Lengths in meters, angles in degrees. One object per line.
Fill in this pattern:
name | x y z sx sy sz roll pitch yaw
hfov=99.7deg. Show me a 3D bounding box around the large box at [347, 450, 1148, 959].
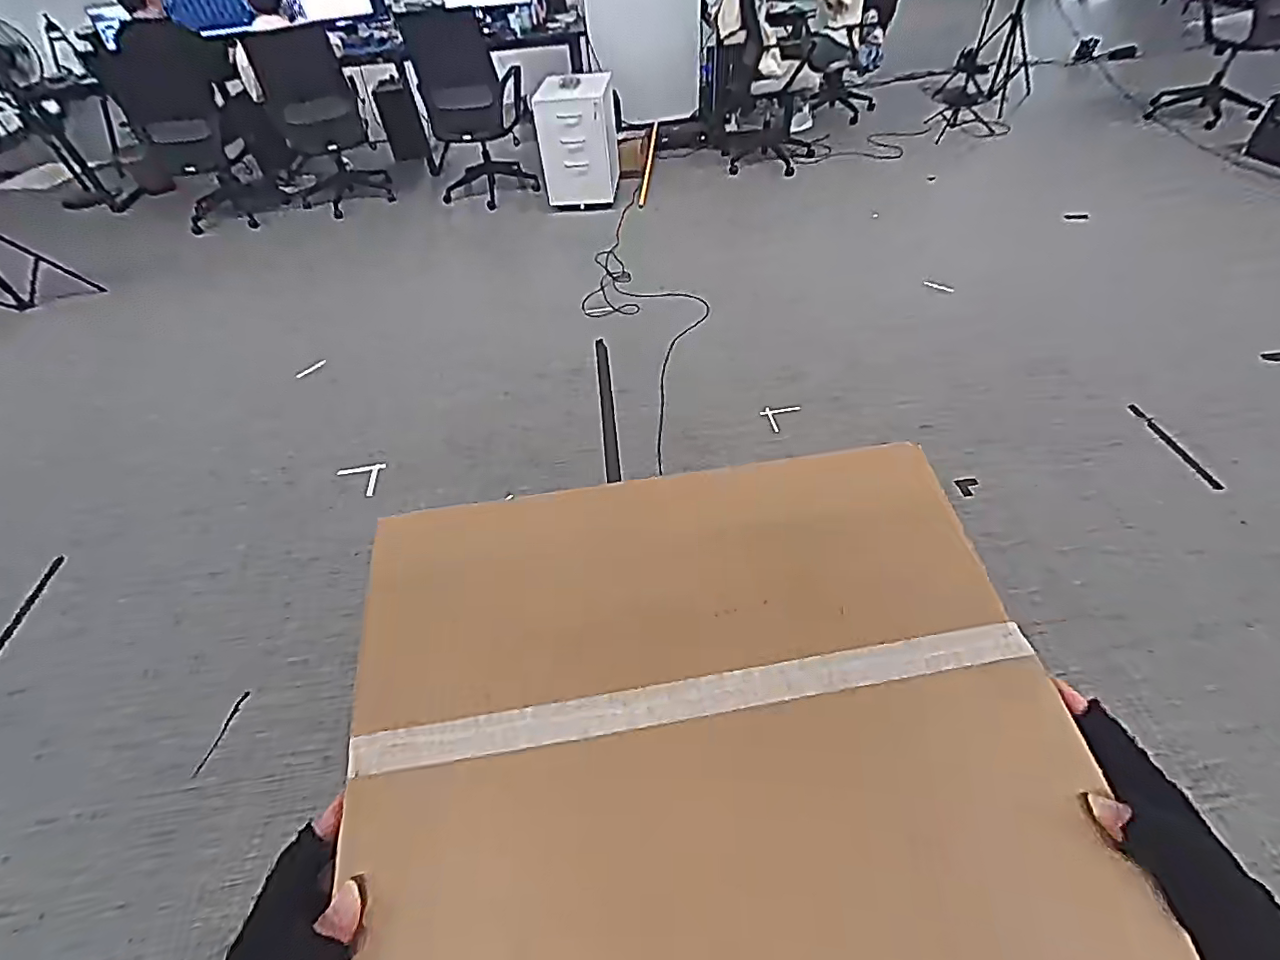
large box | 0.039 0.213 0.456 0.408 0.320 0.320 -9 57 -4
